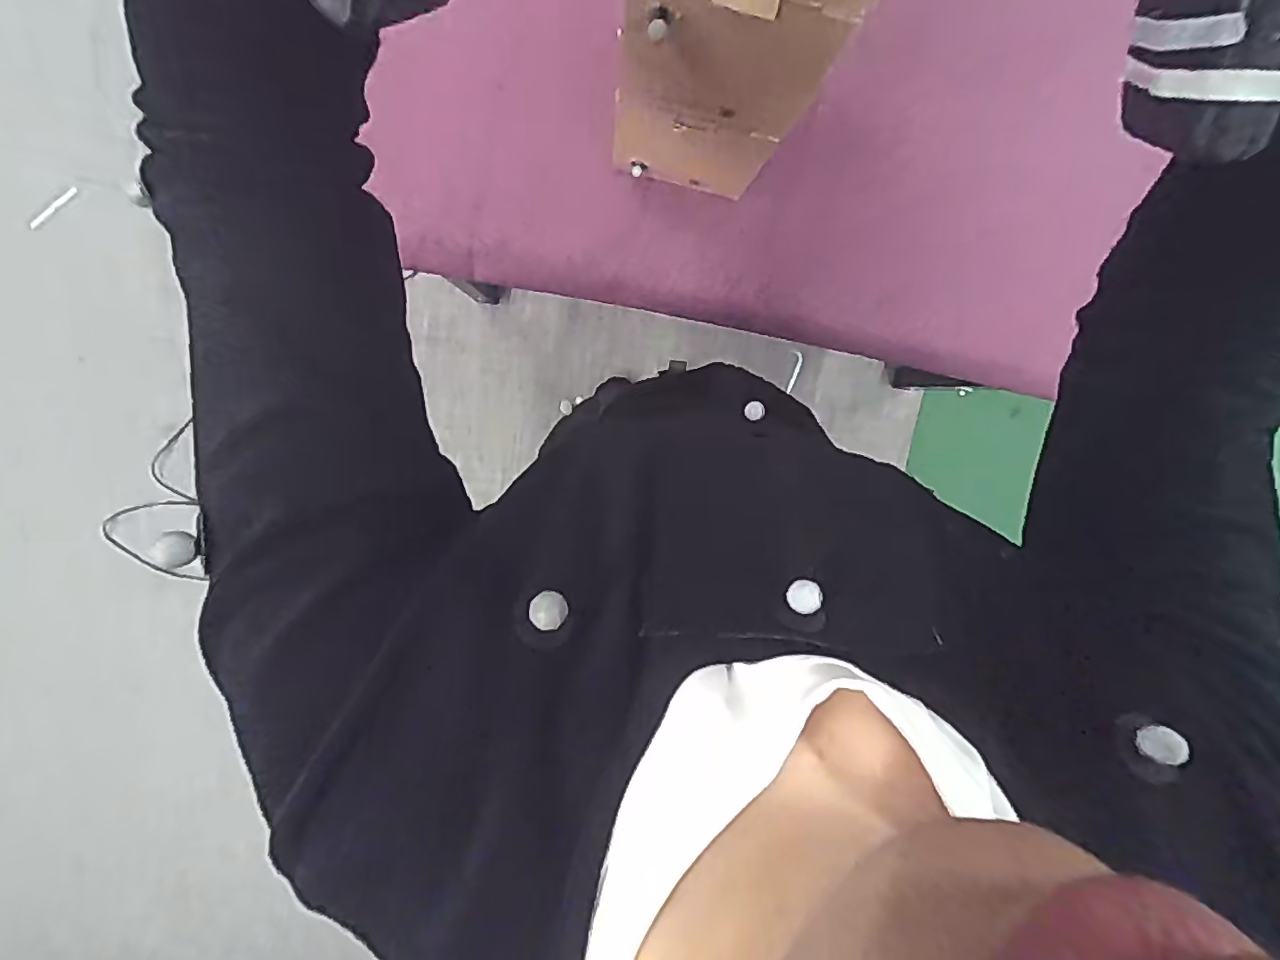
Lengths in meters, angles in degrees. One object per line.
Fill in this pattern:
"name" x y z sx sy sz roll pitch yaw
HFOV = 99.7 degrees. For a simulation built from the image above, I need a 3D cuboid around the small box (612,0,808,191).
"small box" 0.067 -0.446 0.588 0.168 0.176 0.179 11 97 -6
